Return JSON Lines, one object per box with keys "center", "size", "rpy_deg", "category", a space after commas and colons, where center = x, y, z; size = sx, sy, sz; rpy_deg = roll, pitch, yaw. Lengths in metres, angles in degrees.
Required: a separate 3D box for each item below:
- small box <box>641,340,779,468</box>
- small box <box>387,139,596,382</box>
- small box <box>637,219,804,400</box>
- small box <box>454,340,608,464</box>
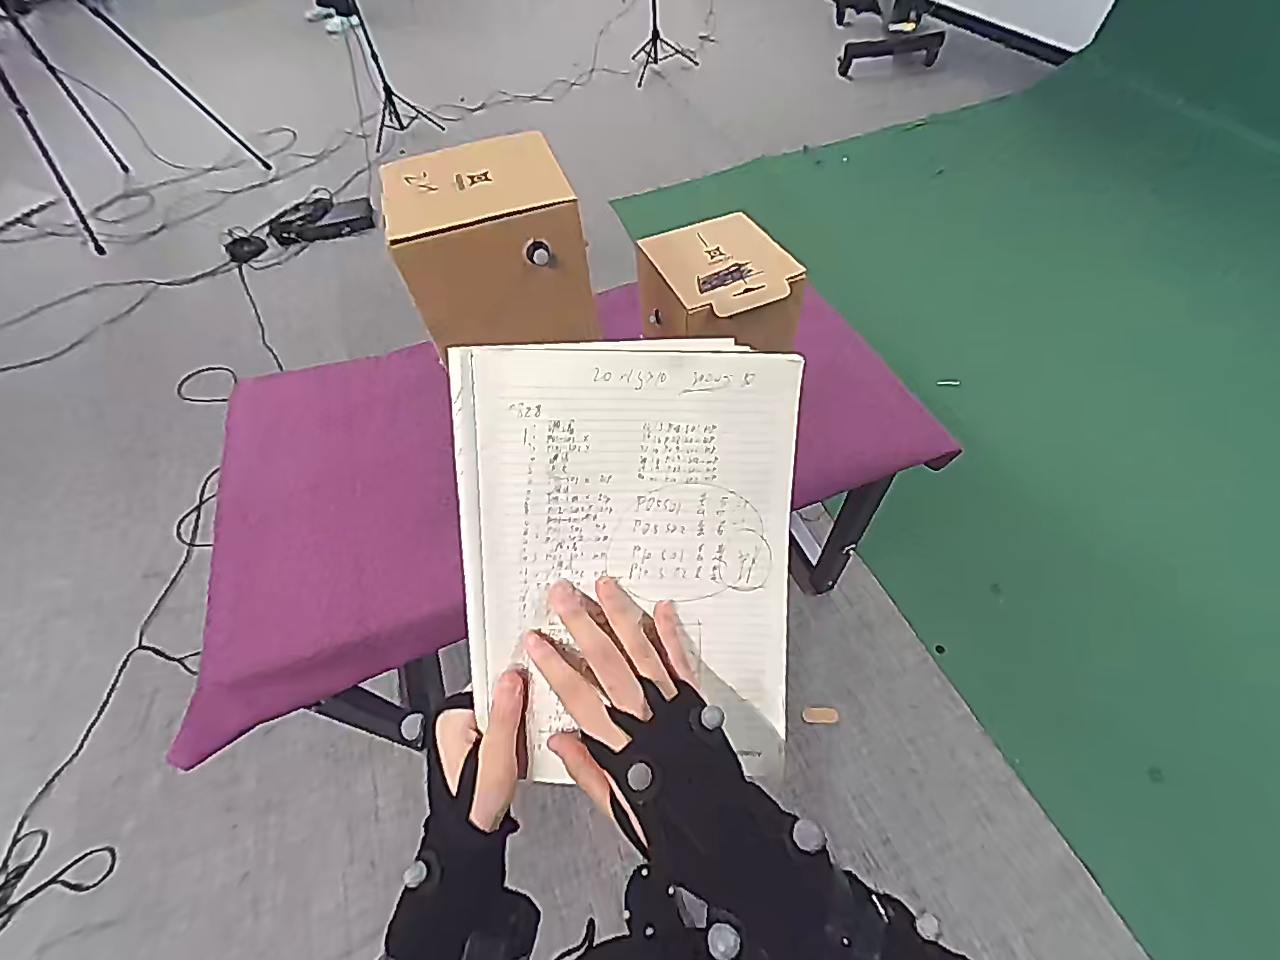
{"center": [0.111, -0.140, 0.907], "size": [0.168, 0.176, 0.179], "rpy_deg": [-18, 54, -9], "category": "small box"}
{"center": [-0.153, -0.236, 0.593], "size": [0.179, 0.176, 0.168], "rpy_deg": [-17, 54, -7], "category": "small box"}
{"center": [0.107, -0.235, 0.772], "size": [0.168, 0.176, 0.179], "rpy_deg": [-20, 53, -10], "category": "small box"}
{"center": [-0.150, -0.142, 0.729], "size": [0.168, 0.176, 0.179], "rpy_deg": [-19, 54, -8], "category": "small box"}
